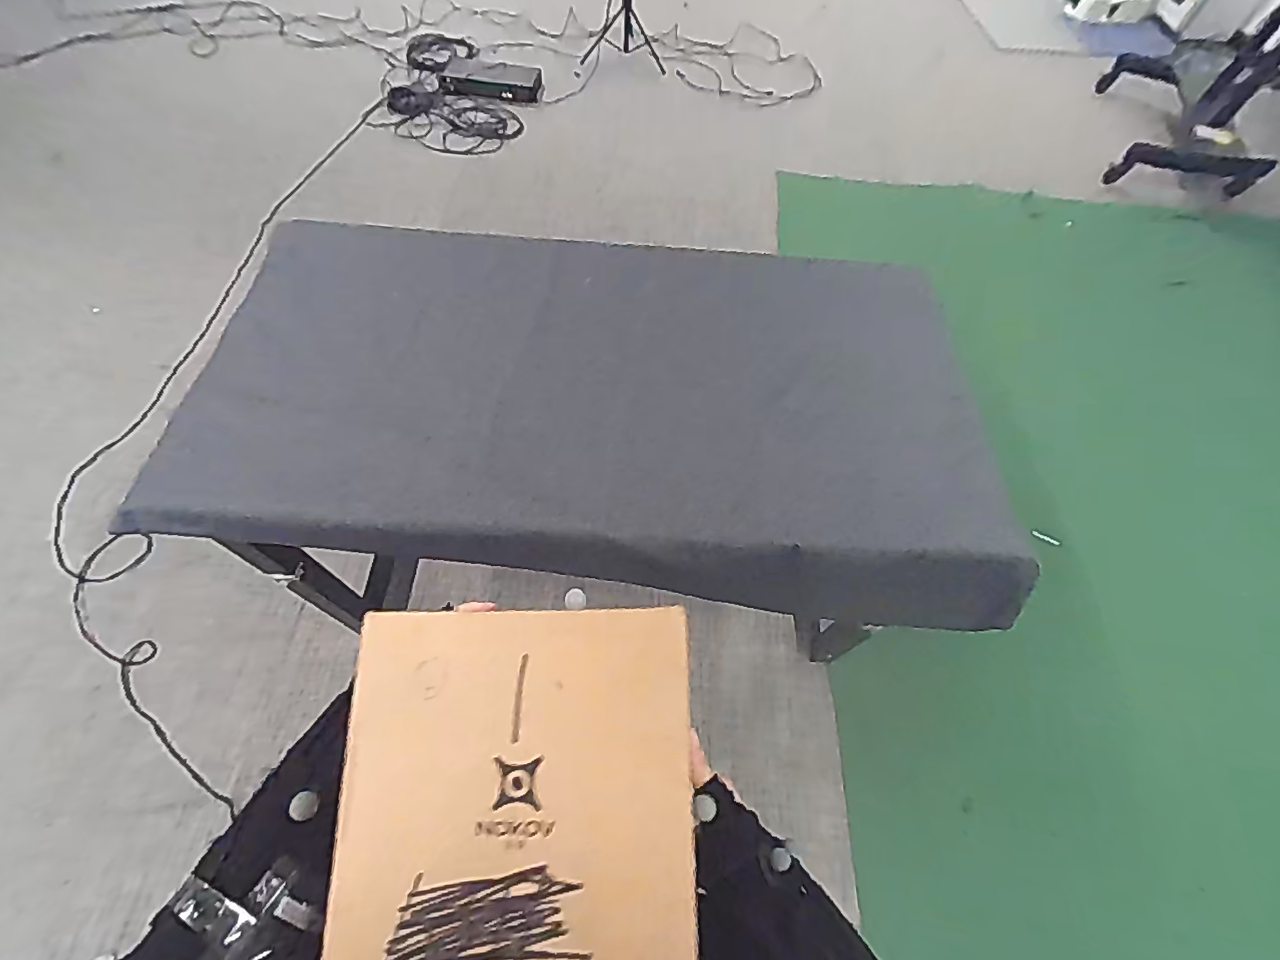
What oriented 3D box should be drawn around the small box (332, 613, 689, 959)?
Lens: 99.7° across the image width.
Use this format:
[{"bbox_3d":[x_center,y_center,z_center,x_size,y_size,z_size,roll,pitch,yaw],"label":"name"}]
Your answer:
[{"bbox_3d":[-0.053,0.177,0.337,0.168,0.176,0.179,0,73,3],"label":"small box"}]
